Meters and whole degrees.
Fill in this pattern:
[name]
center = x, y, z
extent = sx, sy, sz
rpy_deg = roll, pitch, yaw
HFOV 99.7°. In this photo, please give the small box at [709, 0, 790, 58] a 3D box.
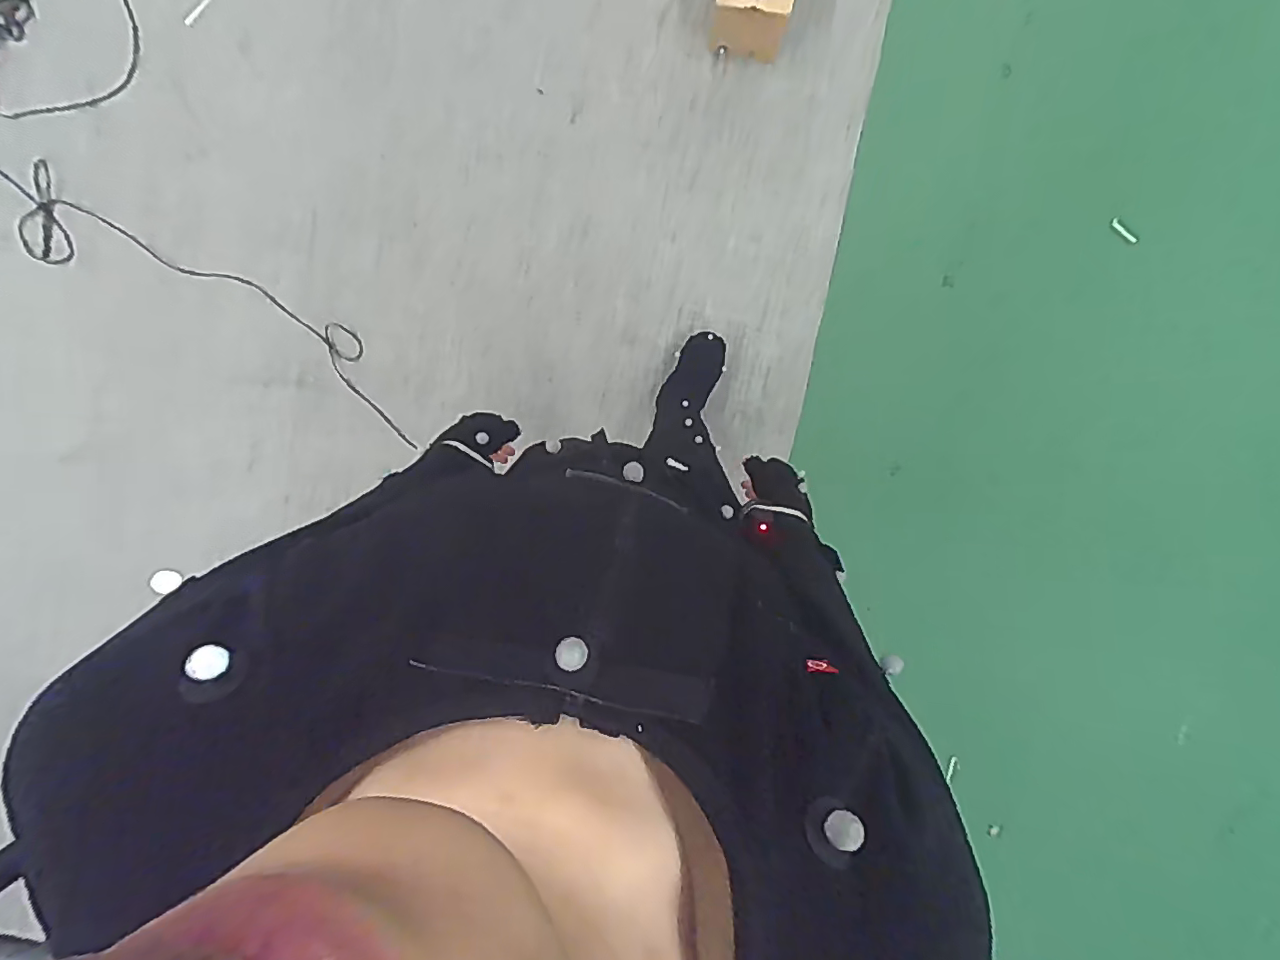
[small box]
center = 0.253, -1.099, 1.216
extent = 0.168, 0.176, 0.179
rpy_deg = 9, 98, 0
